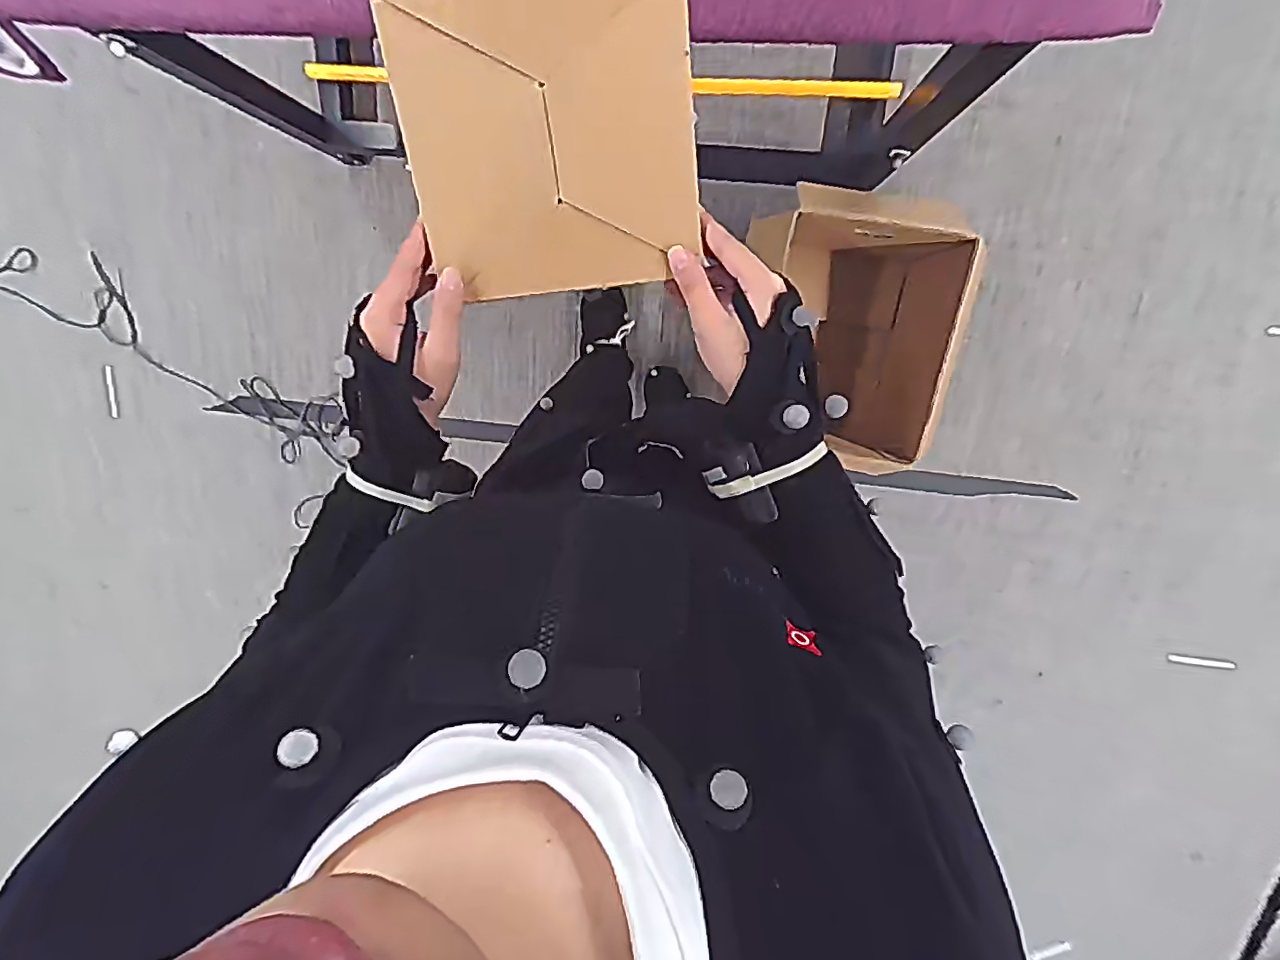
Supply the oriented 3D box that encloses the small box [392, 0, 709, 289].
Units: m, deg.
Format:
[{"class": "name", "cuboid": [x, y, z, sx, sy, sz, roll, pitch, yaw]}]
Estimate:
[{"class": "small box", "cuboid": [-0.054, -0.237, 0.399, 0.179, 0.176, 0.168, -7, 112, 0]}]
